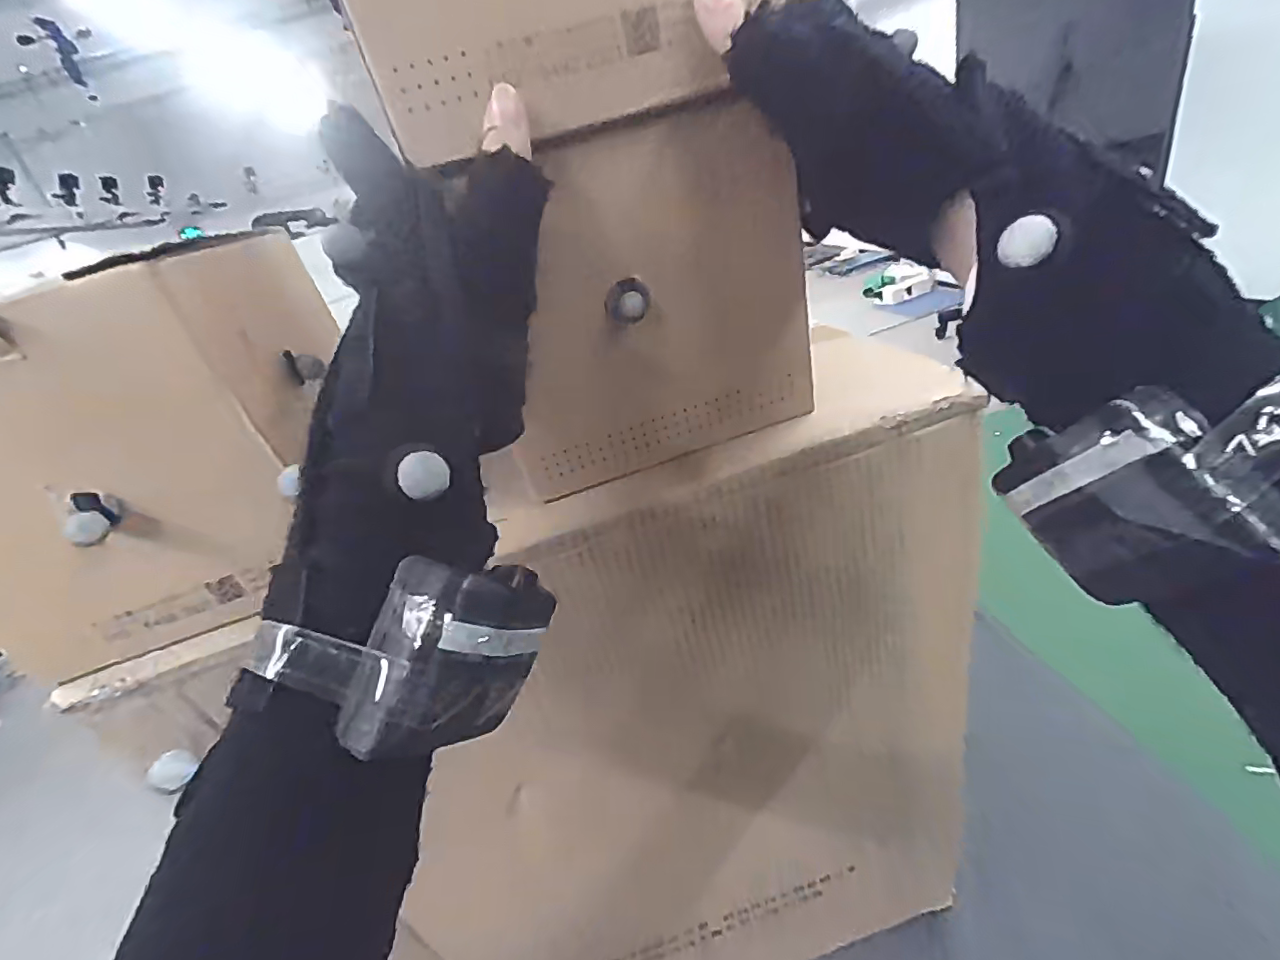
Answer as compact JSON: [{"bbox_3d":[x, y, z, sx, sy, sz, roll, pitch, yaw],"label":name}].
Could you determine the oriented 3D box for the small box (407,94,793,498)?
[{"bbox_3d":[-0.015,-0.115,0.342,0.179,0.176,0.168,-18,30,-4],"label":"small box"}]

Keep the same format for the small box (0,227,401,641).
[{"bbox_3d":[-0.264,-0.031,0.320,0.168,0.176,0.179,-18,31,-4],"label":"small box"}]
